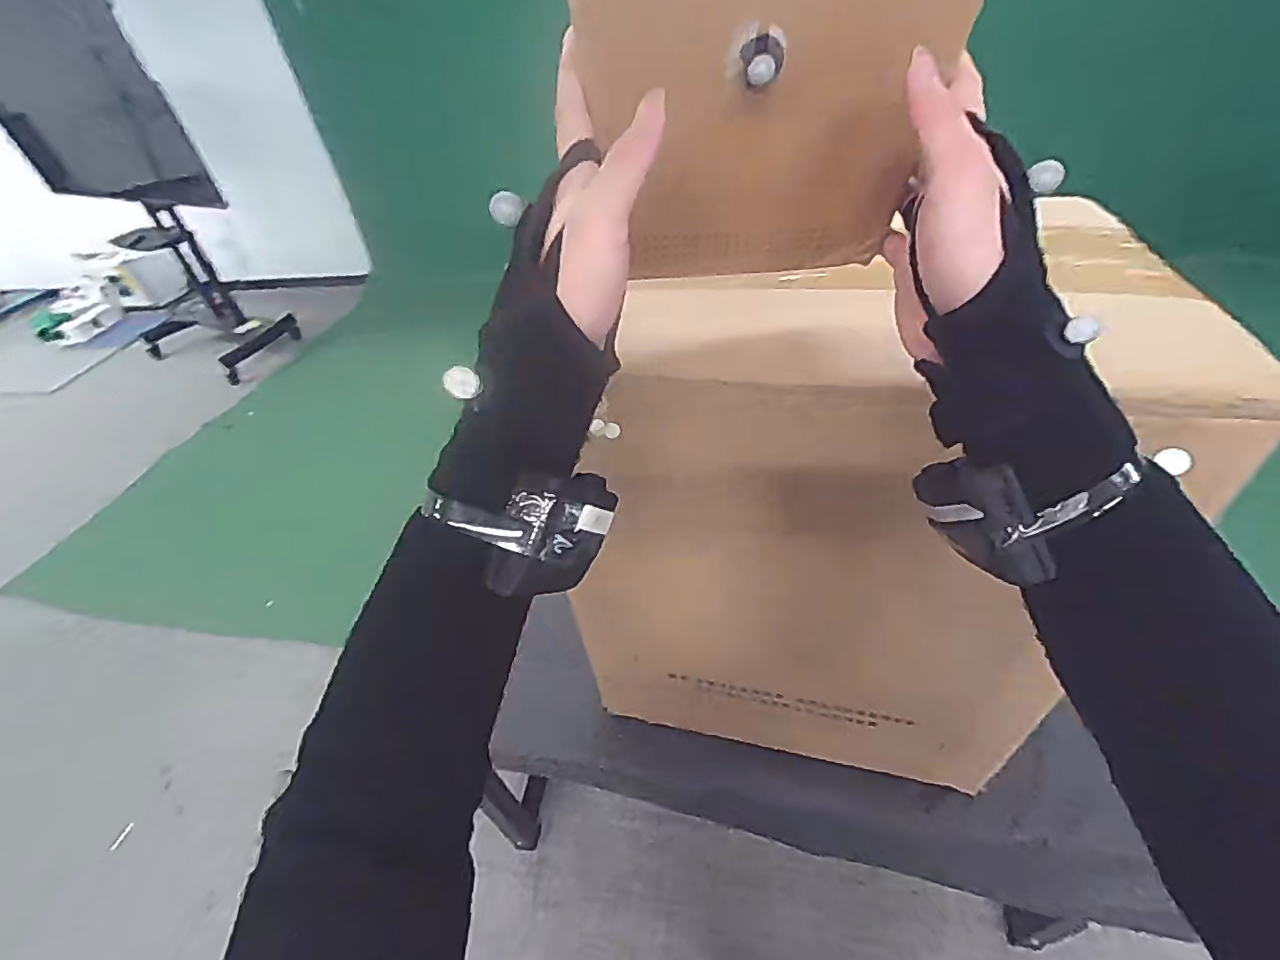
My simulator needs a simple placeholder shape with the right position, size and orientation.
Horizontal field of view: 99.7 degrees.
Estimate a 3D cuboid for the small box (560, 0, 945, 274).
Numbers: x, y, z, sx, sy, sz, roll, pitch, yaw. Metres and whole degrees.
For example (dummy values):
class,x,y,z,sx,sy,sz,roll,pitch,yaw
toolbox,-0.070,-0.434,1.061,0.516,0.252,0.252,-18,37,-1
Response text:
class,x,y,z,sx,sy,sz,roll,pitch,yaw
small box,0.053,-0.244,0.325,0.179,0.176,0.168,-2,64,1
